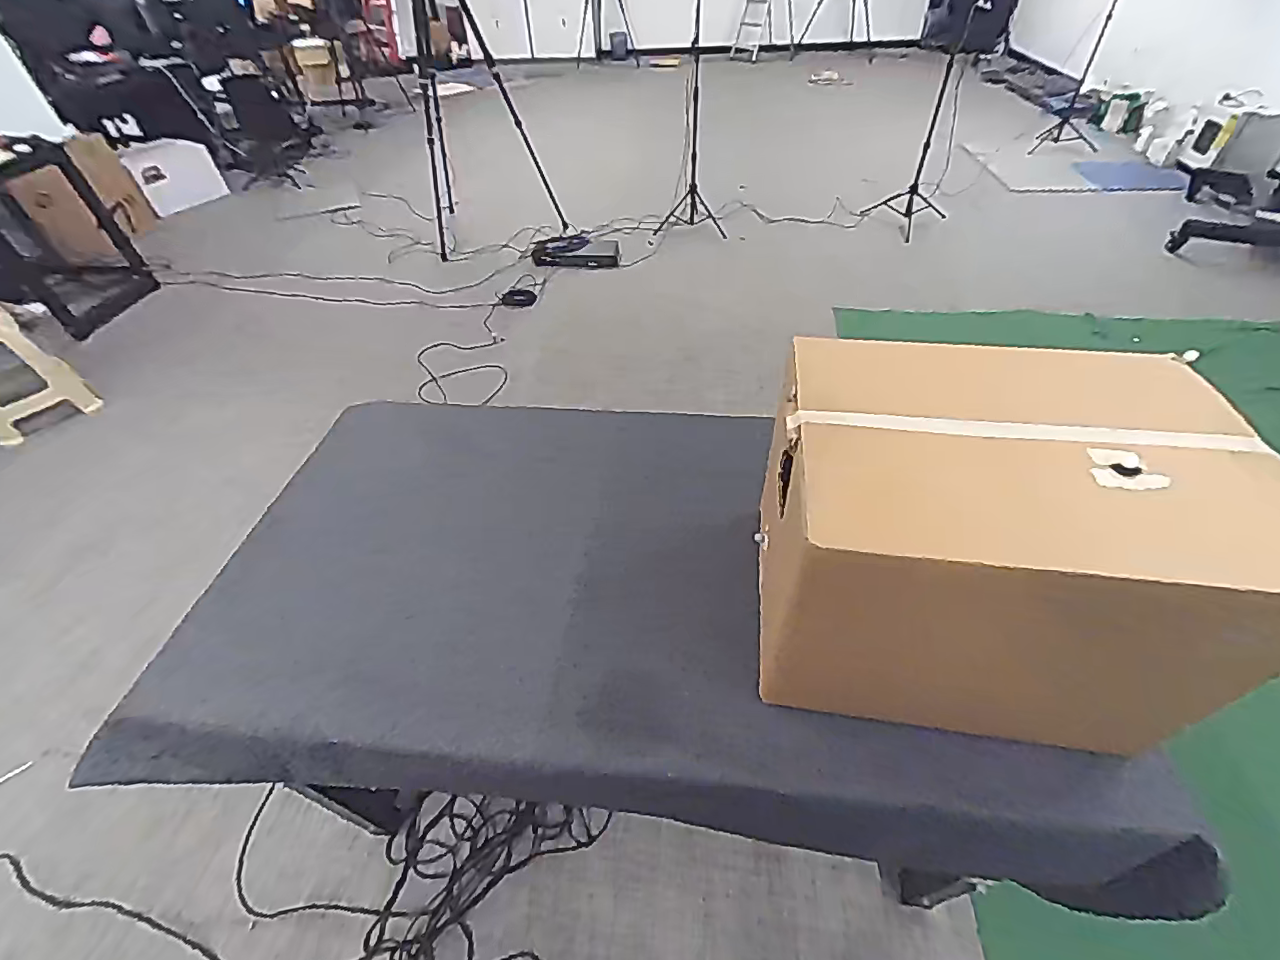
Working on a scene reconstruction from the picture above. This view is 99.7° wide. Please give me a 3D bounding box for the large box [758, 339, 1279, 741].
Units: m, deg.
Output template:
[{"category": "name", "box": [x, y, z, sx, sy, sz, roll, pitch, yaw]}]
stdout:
[{"category": "large box", "box": [0.357, 0.063, 0.615, 0.408, 0.320, 0.320, 6, 47, 7]}]
